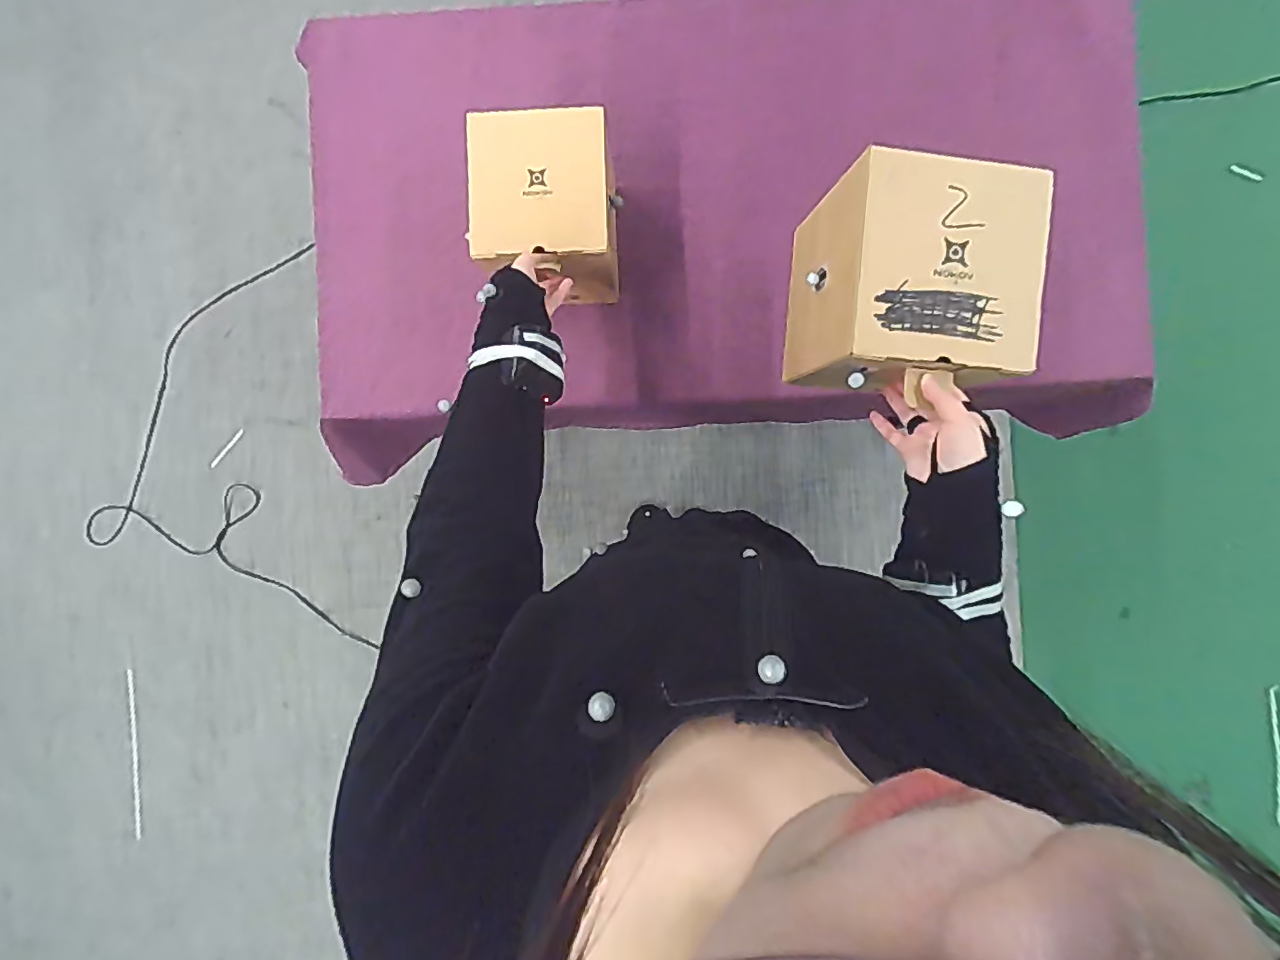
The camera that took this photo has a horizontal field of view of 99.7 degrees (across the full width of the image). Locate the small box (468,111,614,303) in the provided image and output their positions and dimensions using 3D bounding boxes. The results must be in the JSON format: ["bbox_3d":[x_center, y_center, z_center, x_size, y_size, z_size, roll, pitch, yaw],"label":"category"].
[{"bbox_3d":[-0.124,-0.356,0.731,0.168,0.176,0.179,-2,89,1],"label":"small box"}]
